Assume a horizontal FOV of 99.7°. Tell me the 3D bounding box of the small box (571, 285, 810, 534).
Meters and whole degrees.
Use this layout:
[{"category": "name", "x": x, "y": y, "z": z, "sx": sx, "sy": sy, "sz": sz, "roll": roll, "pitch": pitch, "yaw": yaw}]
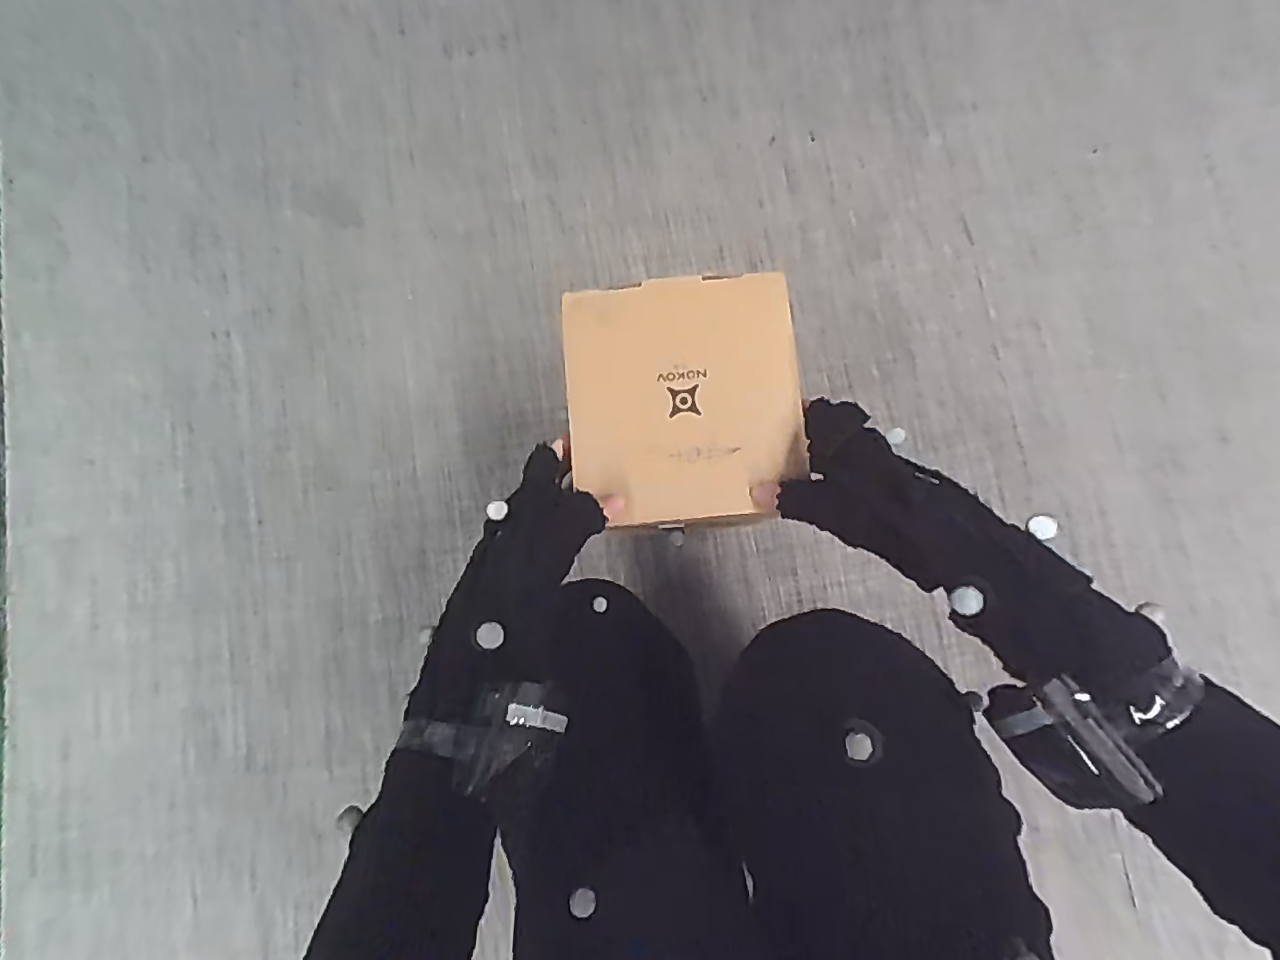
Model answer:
[{"category": "small box", "x": 0.038, "y": -0.046, "z": 0.474, "sx": 0.168, "sy": 0.176, "sz": 0.179, "roll": -5, "pitch": 86, "yaw": 3}]
